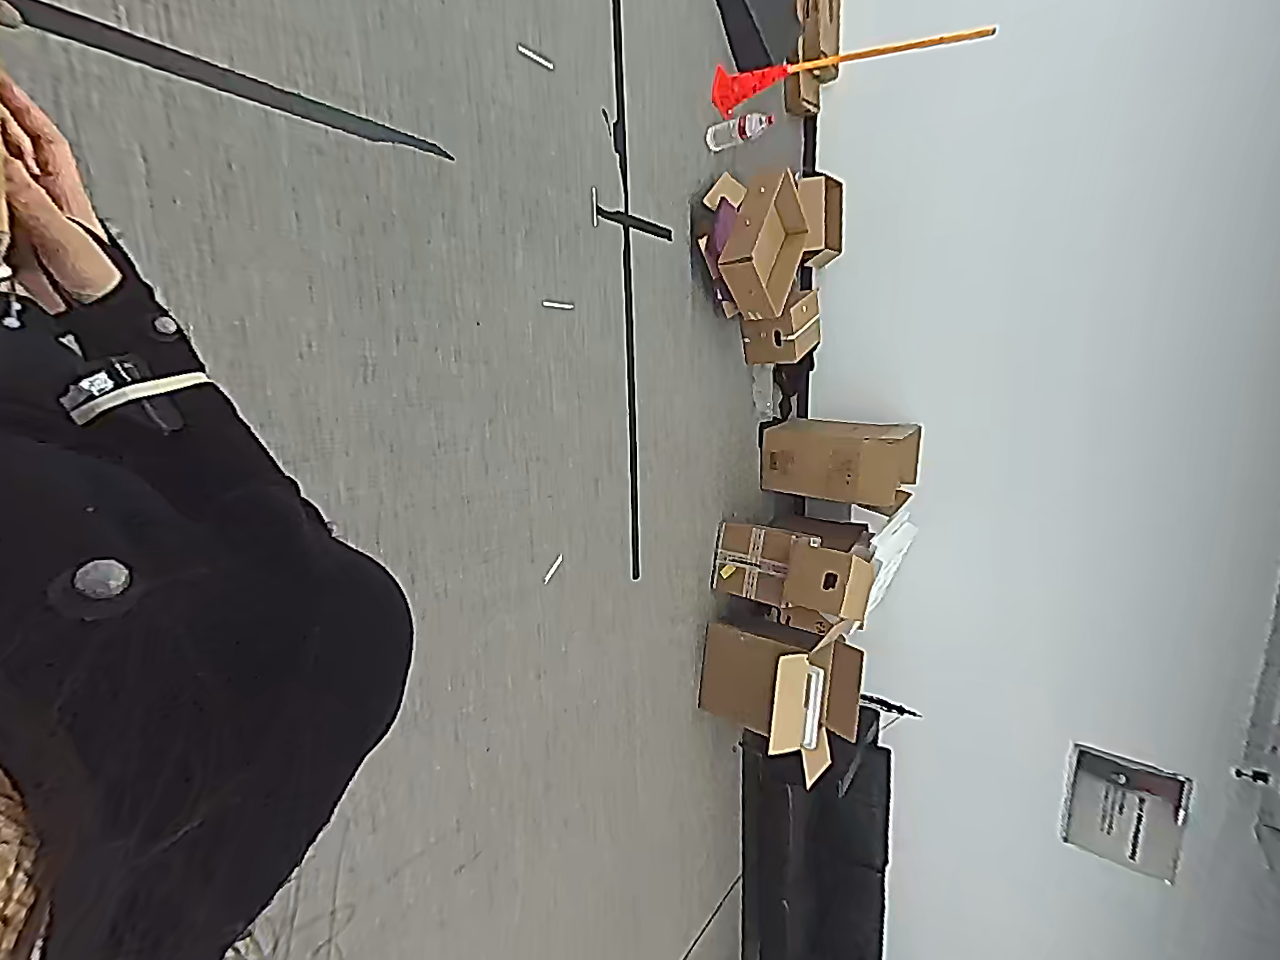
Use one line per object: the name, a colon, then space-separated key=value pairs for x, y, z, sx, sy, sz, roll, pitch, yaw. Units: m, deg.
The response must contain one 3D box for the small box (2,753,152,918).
small box: x=-1.091 y=0.673 z=1.048 sx=0.179 sy=0.176 sz=0.168 roll=-14 pitch=106 yaw=-52
